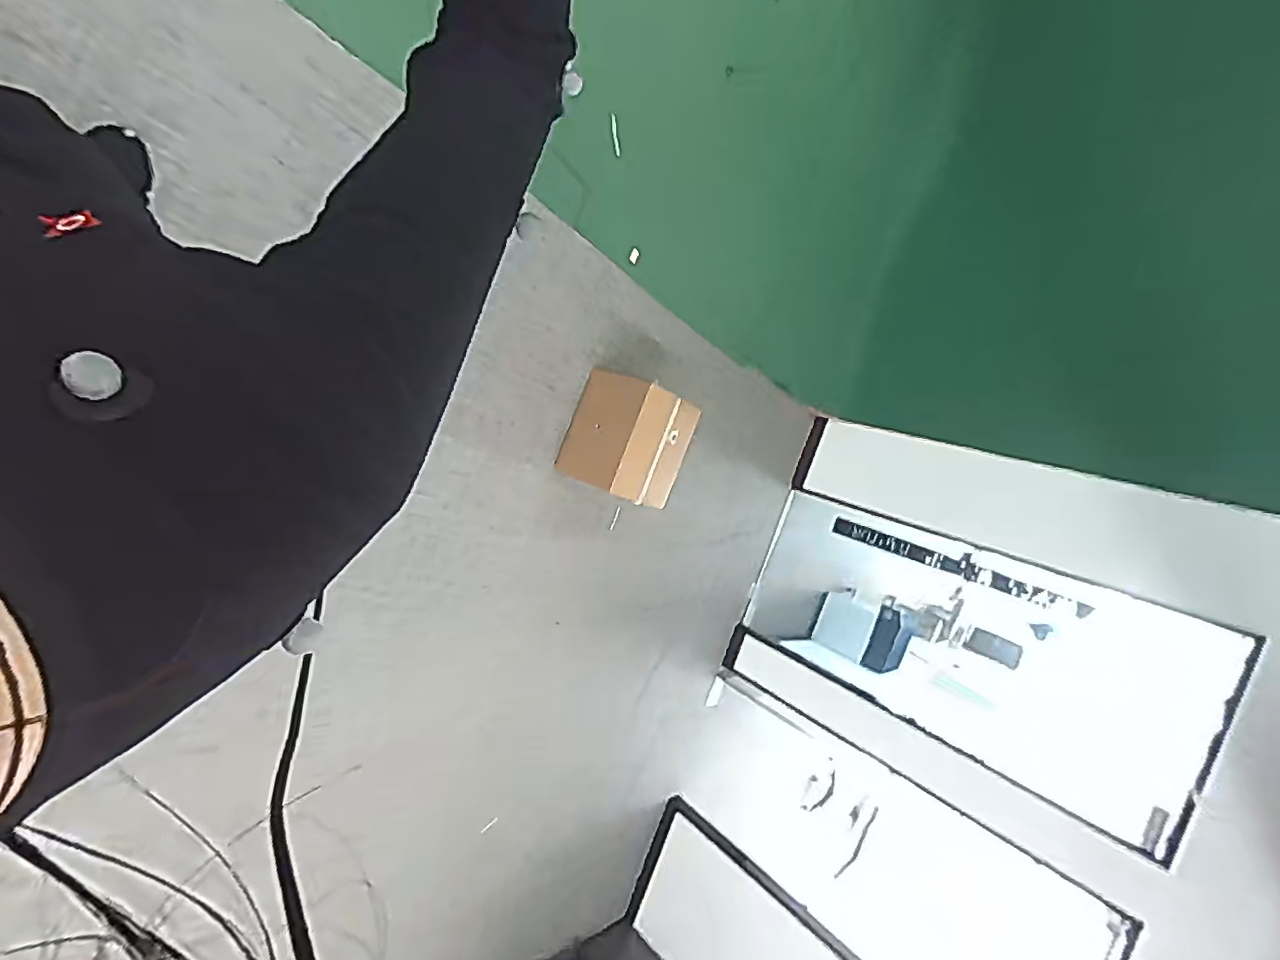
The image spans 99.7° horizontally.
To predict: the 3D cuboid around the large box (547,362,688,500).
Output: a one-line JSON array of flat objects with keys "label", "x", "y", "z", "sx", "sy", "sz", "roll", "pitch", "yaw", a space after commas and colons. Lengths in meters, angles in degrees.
[{"label": "large box", "x": -0.084, "y": -0.177, "z": 1.999, "sx": 0.320, "sy": 0.320, "sz": 0.408, "roll": 20, "pitch": 90, "yaw": -51}]
